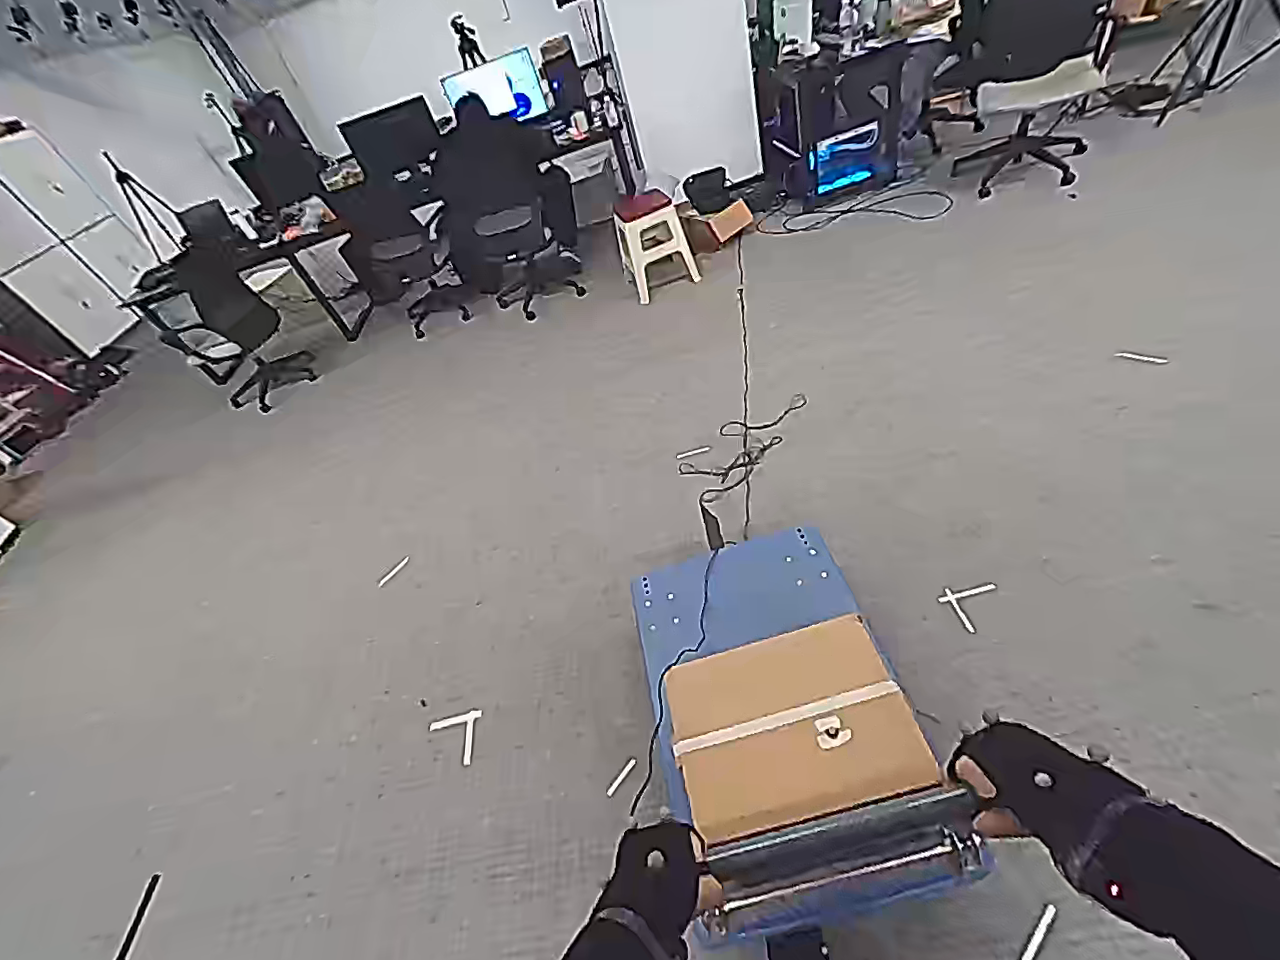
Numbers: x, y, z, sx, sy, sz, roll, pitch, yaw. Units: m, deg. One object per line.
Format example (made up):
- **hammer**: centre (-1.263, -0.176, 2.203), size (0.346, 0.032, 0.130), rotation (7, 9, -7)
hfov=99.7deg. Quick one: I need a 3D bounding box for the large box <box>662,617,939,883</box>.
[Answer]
- **large box**: centre (0.293, 0.531, 1.059), size (0.408, 0.320, 0.320), rotation (-18, 44, 4)
